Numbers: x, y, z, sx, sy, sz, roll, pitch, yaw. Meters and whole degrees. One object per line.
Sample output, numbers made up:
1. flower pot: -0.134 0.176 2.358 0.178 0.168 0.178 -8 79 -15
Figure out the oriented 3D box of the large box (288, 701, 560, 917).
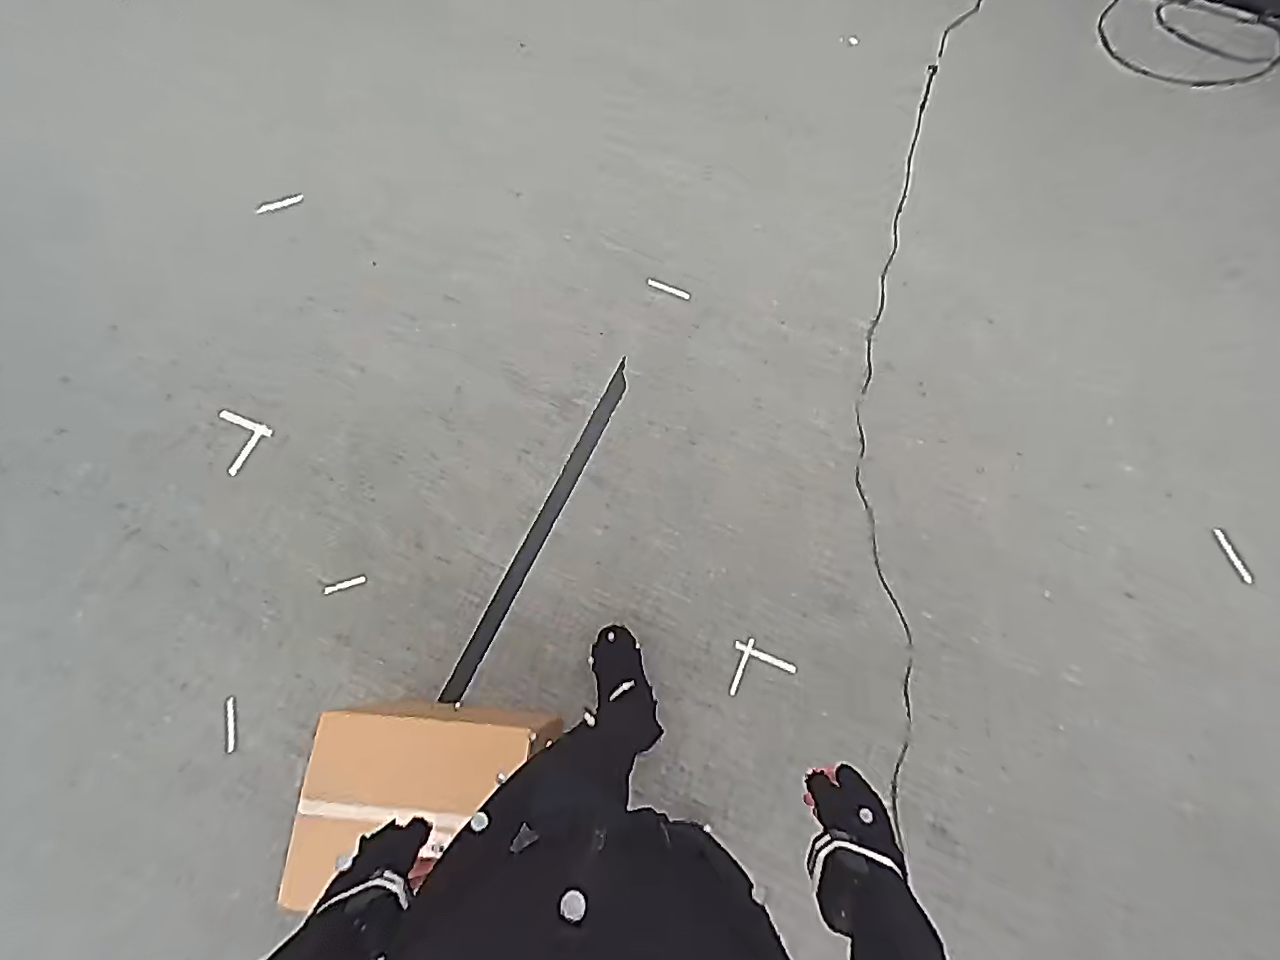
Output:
1. large box: -0.401 0.637 1.113 0.408 0.320 0.320 4 72 2
